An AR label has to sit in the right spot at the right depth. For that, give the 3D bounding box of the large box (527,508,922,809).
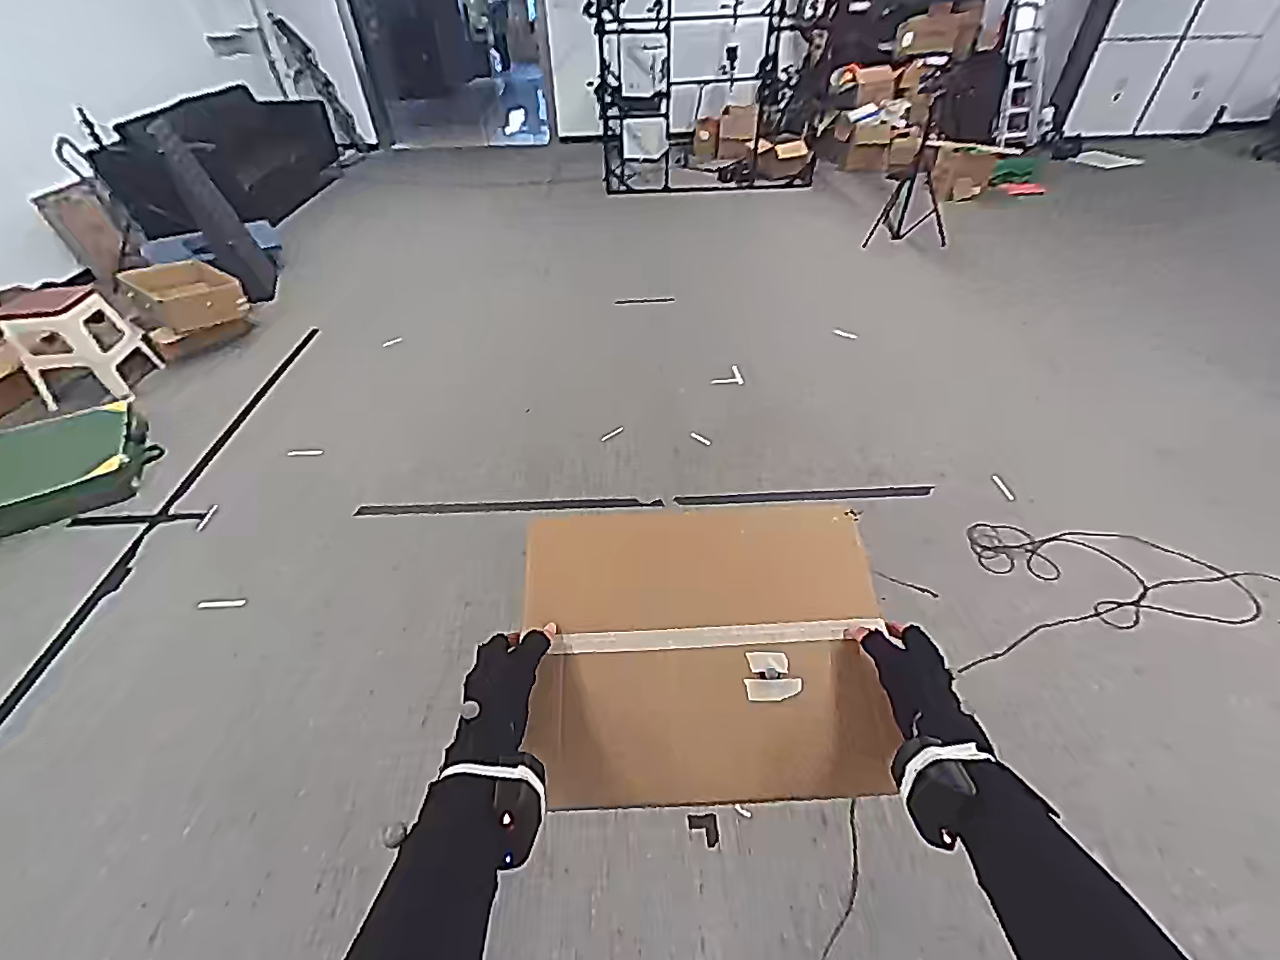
[{"bbox_3d":[0.078,0.255,0.737,0.408,0.320,0.320,-2,59,-1],"label":"large box"}]
